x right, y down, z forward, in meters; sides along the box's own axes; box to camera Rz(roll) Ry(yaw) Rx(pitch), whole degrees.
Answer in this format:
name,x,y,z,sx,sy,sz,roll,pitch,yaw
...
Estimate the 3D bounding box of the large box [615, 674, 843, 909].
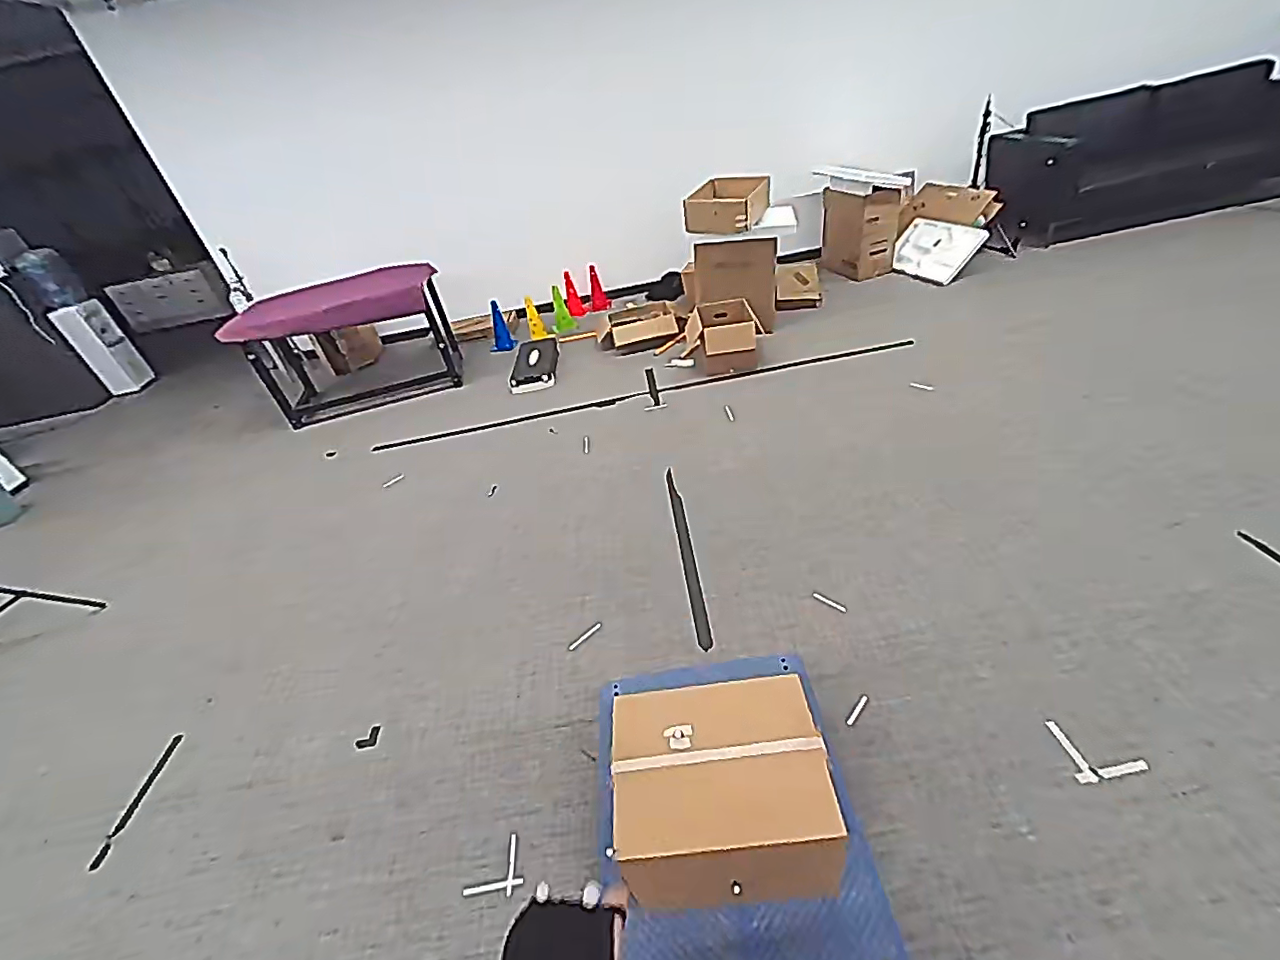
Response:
name,x,y,z,sx,sy,sz,roll,pitch,yaw
large box,0.174,0.659,1.145,0.408,0.320,0.320,-10,35,4
